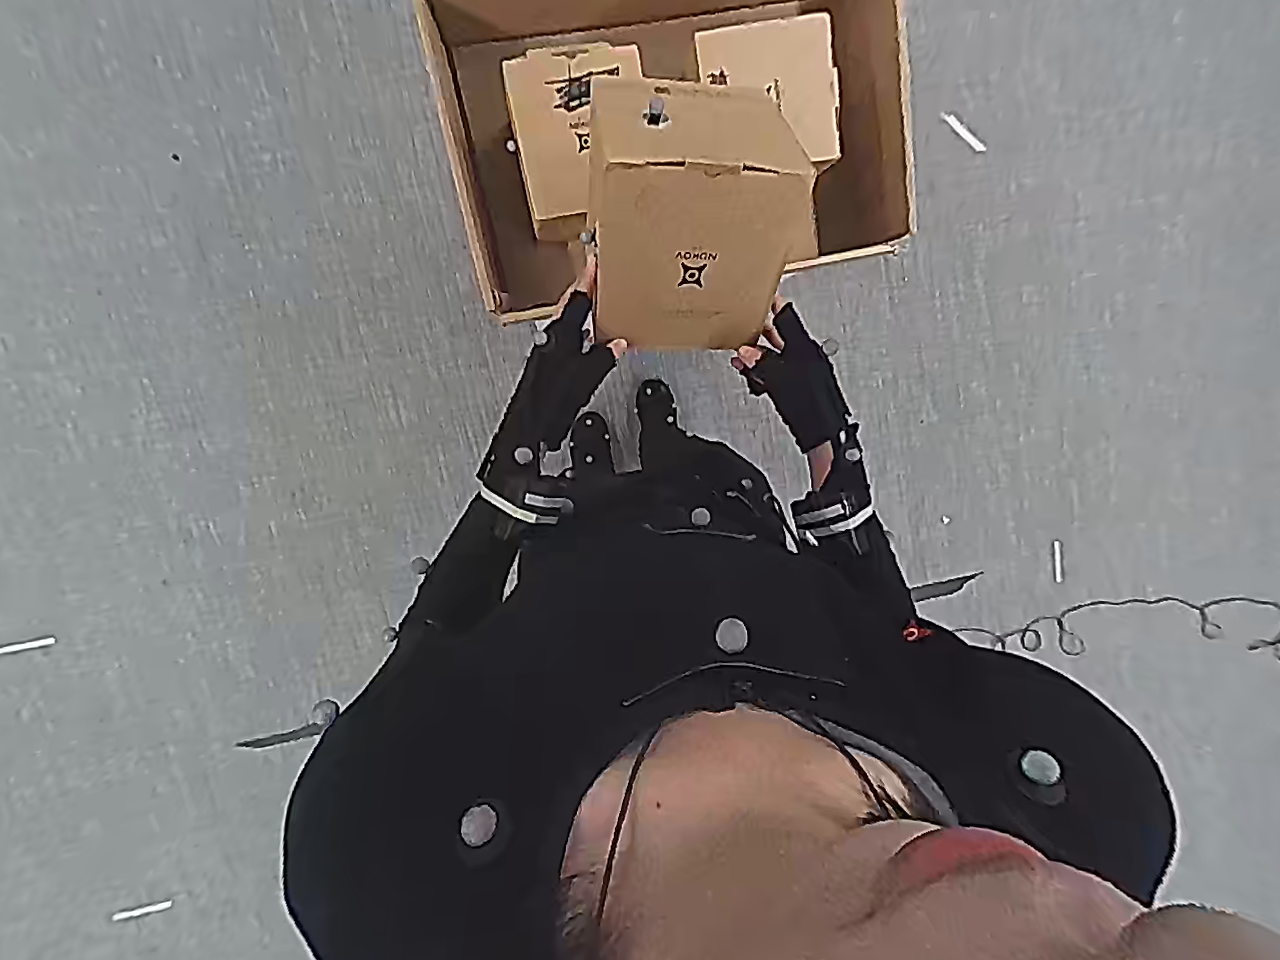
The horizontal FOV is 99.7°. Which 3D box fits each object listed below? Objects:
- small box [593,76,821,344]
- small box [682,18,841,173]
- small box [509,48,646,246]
[{"bbox_3d":[0.042,-0.252,0.513,0.168,0.179,0.176,-2,54,-8],"label":"small box"},{"bbox_3d":[0.157,-0.499,0.760,0.179,0.176,0.168,-12,104,-5],"label":"small box"},{"bbox_3d":[-0.076,-0.438,0.736,0.168,0.176,0.179,-12,105,-6],"label":"small box"}]
